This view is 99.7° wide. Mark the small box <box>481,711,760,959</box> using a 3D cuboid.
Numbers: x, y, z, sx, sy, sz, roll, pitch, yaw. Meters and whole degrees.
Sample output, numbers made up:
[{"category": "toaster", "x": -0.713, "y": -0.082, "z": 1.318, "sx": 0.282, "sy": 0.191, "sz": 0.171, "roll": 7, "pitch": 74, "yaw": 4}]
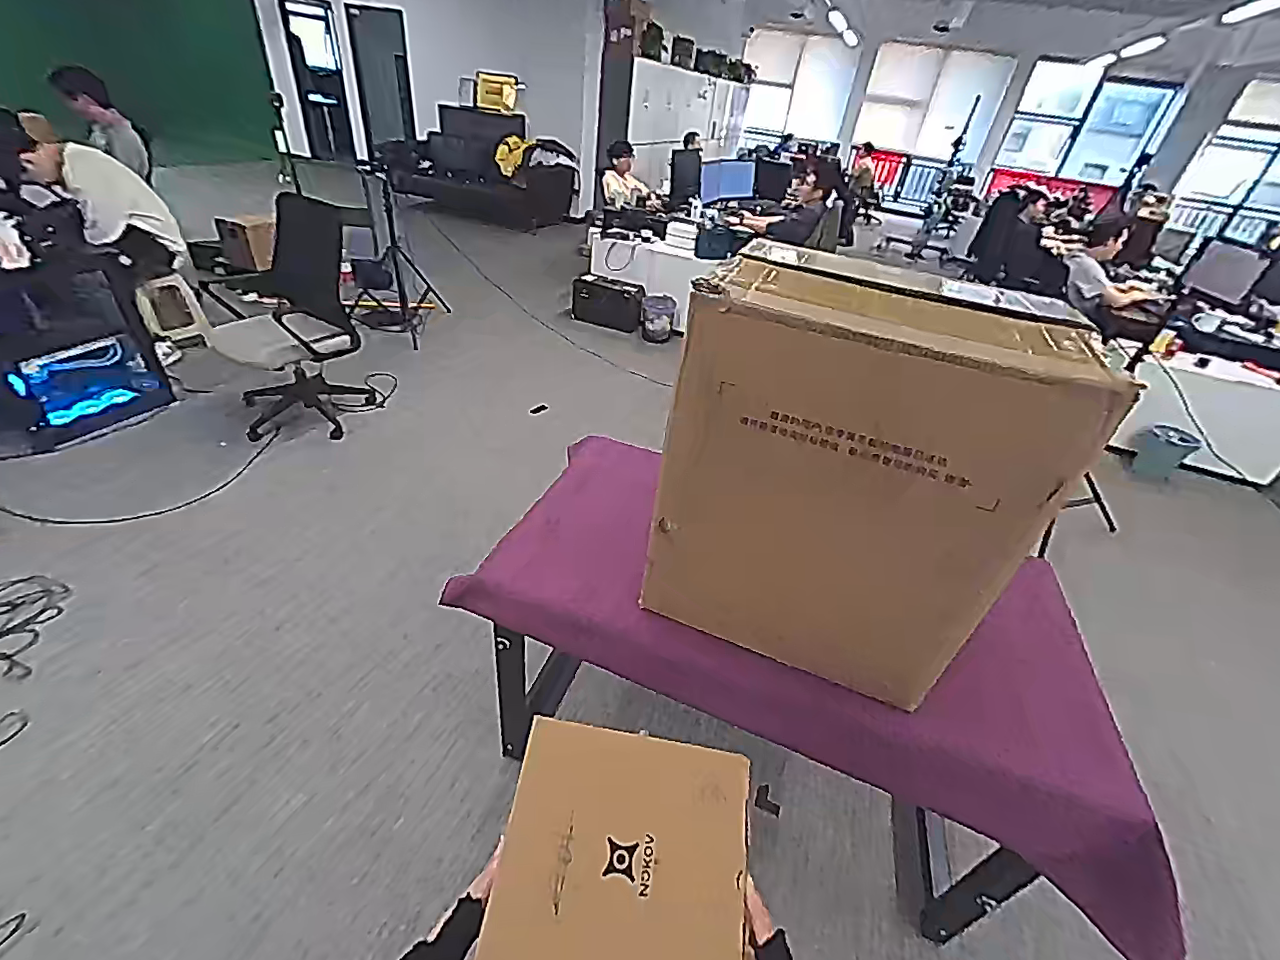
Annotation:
[{"category": "small box", "x": -0.013, "y": 0.307, "z": 0.435, "sx": 0.179, "sy": 0.176, "sz": 0.168, "roll": 10, "pitch": 50, "yaw": 0}]
